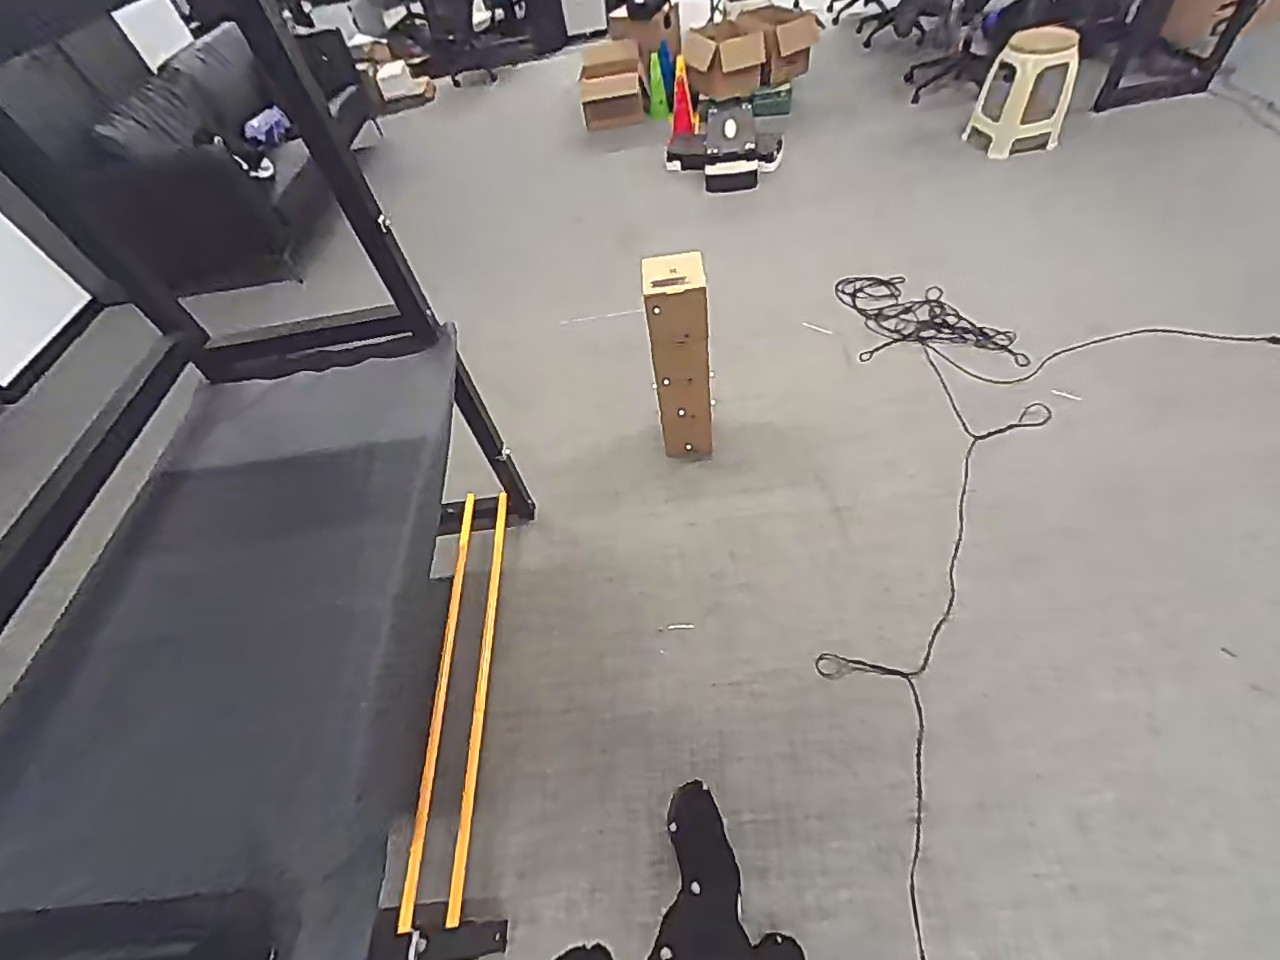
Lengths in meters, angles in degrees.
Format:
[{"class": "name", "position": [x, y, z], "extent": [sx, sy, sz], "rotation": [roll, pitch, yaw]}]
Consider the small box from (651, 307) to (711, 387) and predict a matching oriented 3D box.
[{"class": "small box", "position": [0.126, -0.397, 1.646], "extent": [0.168, 0.176, 0.179], "rotation": [-5, 51, 6]}]

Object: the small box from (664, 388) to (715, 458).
[{"class": "small box", "position": [0.175, -0.198, 1.900], "extent": [0.168, 0.176, 0.179], "rotation": [-4, 52, 8]}]
